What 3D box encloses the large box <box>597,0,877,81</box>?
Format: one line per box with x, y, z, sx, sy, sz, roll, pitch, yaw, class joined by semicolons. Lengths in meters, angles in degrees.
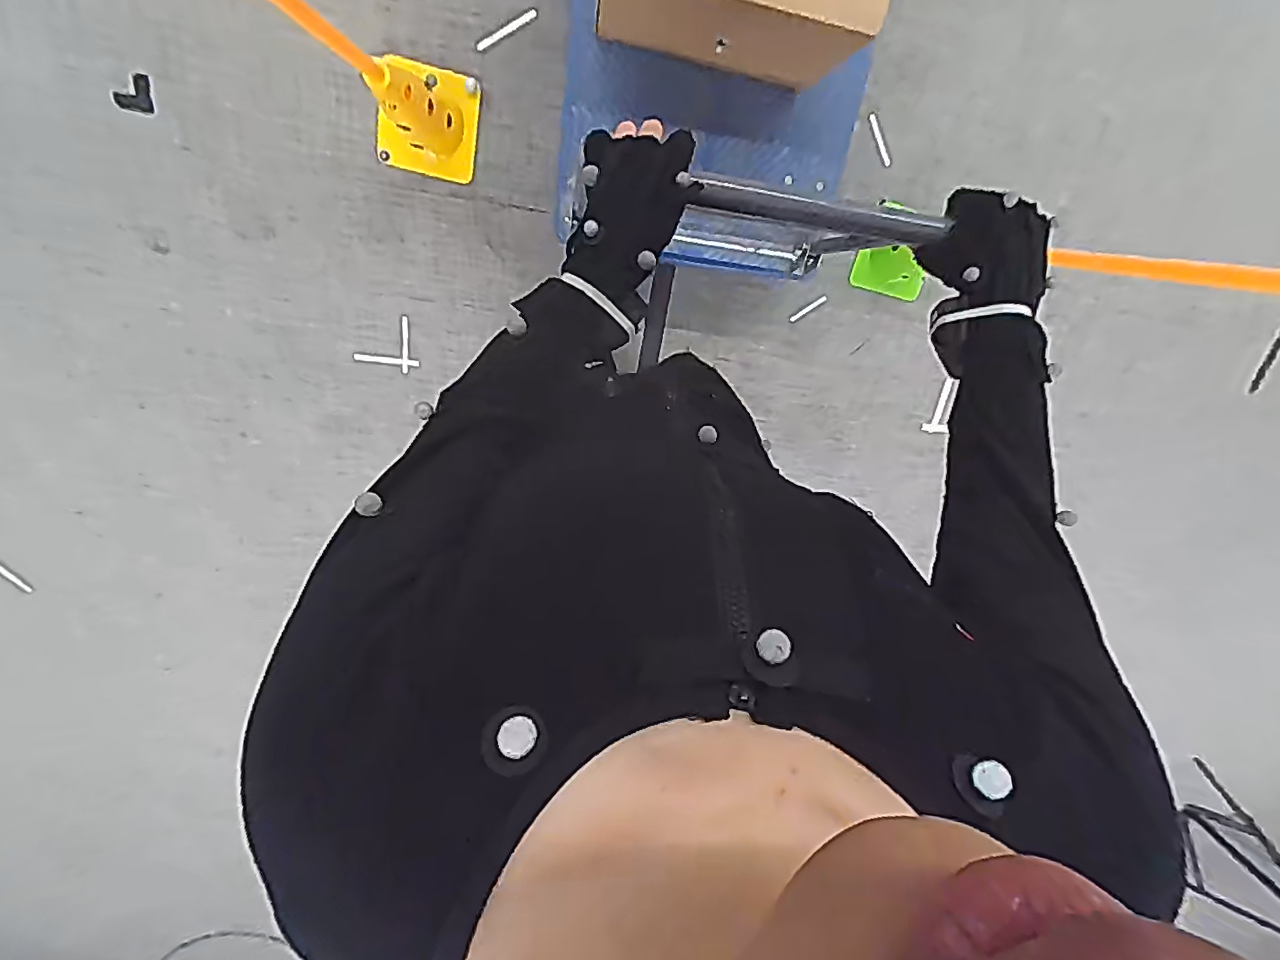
0.153;-0.872;0.840;0.408;0.320;0.320;7;113;-9;large box

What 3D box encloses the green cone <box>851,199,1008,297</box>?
0.669;-0.515;1.210;0.202;0.368;0.200;9;112;-12;green cone
